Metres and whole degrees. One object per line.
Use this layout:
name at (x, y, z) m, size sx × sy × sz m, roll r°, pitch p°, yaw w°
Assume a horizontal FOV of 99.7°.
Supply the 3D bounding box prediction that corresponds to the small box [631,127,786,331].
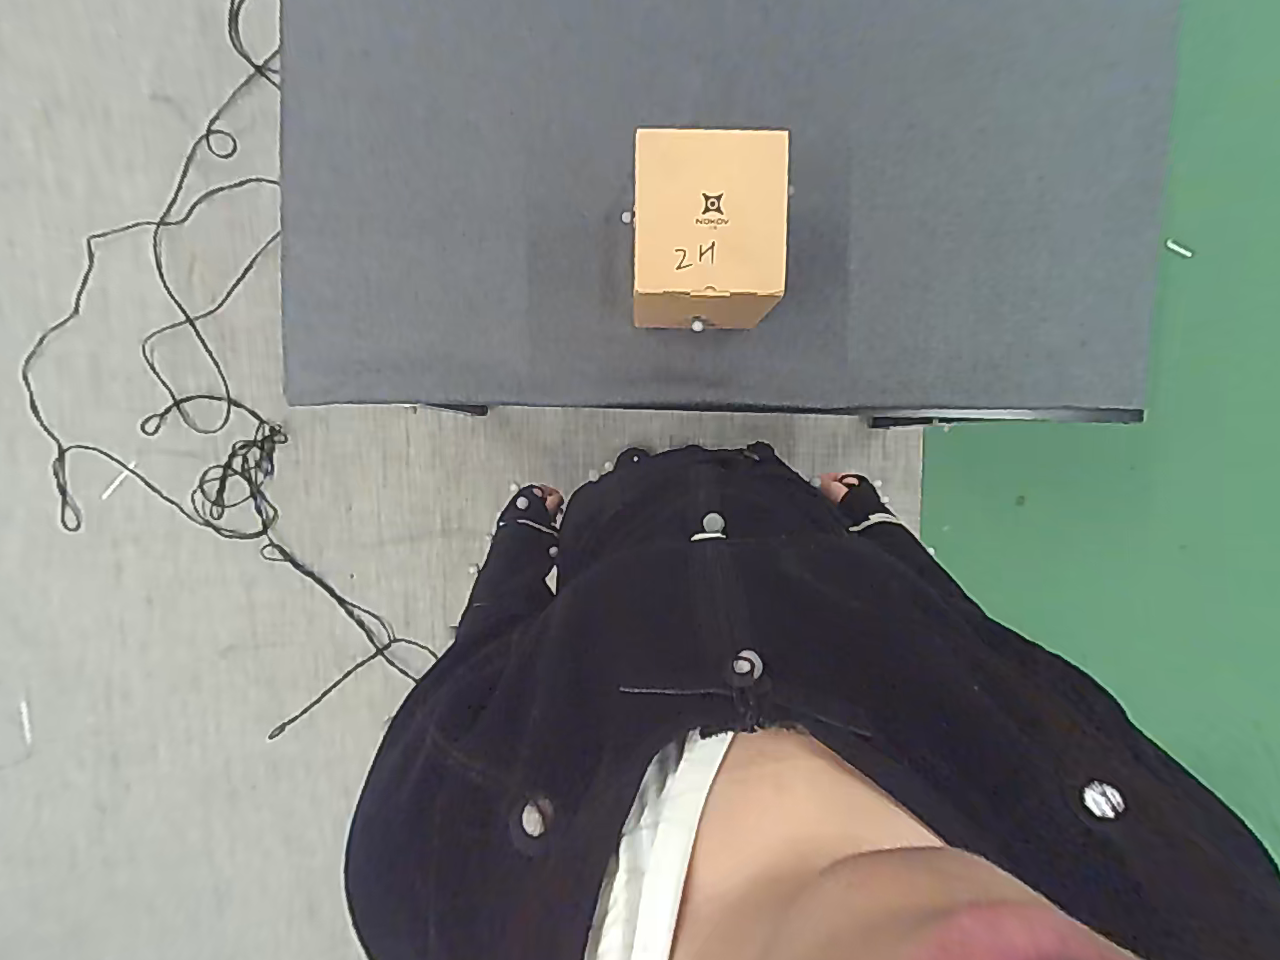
small box at (0.072, -0.291, 0.658) m, size 0.168 × 0.176 × 0.179 m, roll 0°, pitch 93°, yaw 0°
